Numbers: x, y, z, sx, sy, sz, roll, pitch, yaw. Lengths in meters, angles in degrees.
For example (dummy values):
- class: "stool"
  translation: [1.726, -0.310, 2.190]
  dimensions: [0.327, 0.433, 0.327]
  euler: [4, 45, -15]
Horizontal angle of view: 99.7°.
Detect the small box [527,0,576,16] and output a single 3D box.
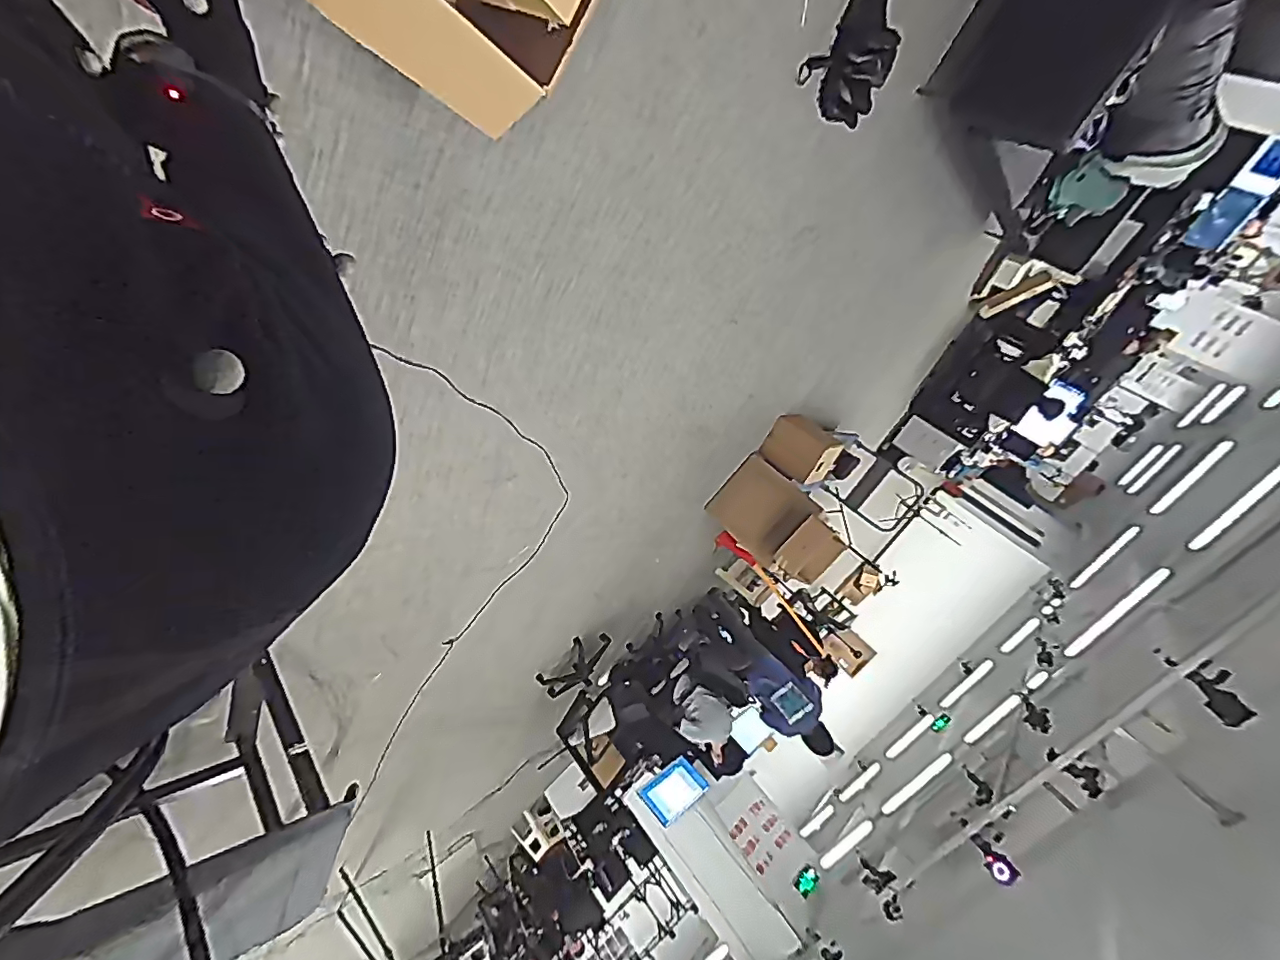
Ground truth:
- class: "small box"
  translation: [-0.176, -0.861, 0.815]
  dimensions: [0.179, 0.176, 0.168]
  euler: [5, 124, -53]
